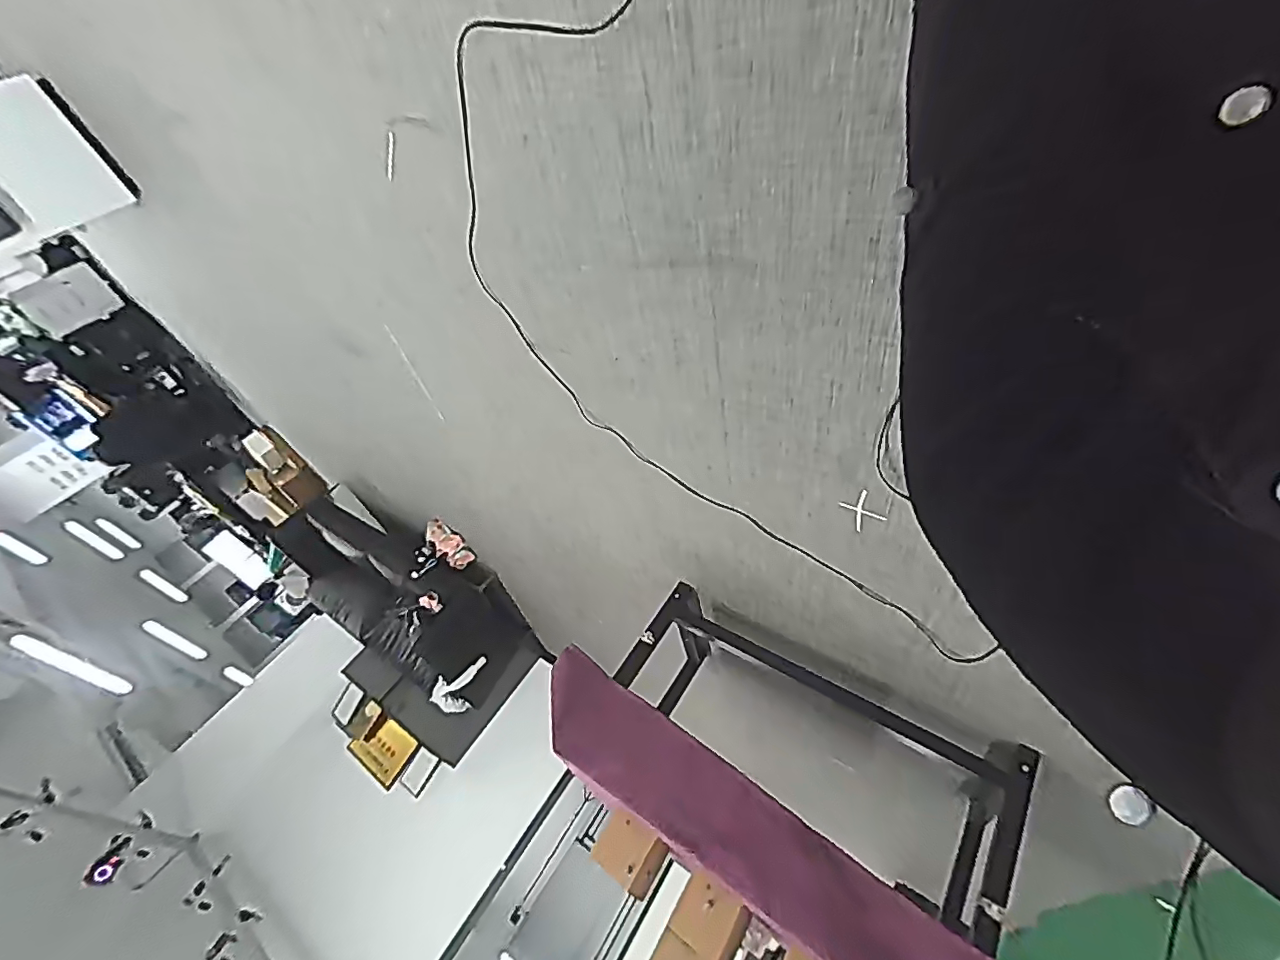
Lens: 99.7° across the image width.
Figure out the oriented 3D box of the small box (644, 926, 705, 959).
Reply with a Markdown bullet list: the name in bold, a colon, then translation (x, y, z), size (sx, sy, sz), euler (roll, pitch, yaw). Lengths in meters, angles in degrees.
- **small box**: translation (0.106, 1.392, 1.511), size (0.179, 0.176, 0.168), euler (17, 144, 35)

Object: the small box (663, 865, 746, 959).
- **small box**: translation (0.198, 1.285, 1.594), size (0.168, 0.176, 0.179), euler (16, 142, 36)
